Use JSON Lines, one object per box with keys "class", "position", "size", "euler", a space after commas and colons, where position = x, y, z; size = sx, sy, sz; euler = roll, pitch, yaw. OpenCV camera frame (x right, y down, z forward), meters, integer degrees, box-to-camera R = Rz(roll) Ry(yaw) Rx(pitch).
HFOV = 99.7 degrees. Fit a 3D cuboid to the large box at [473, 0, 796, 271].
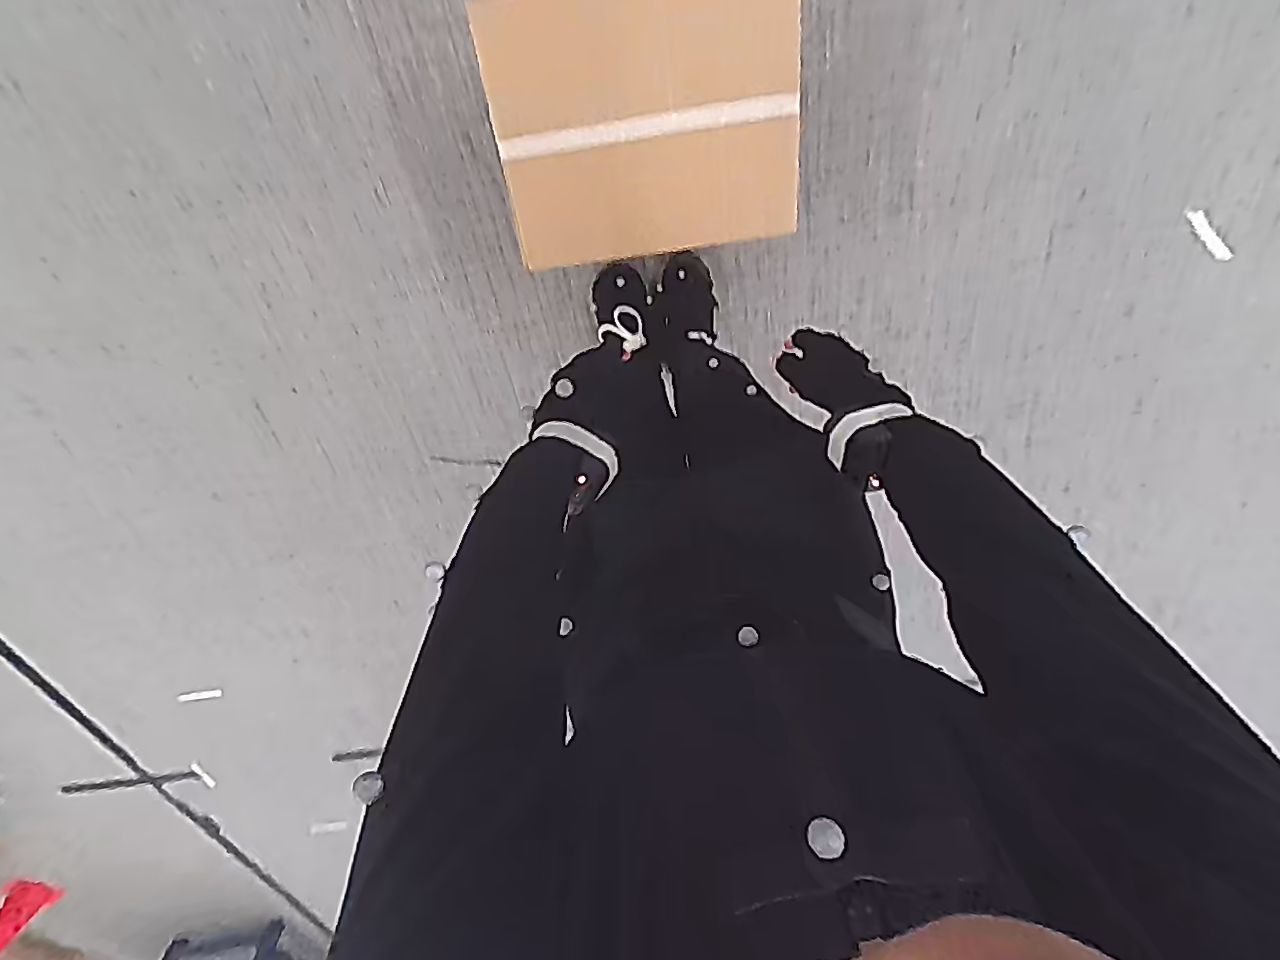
{"class": "large box", "position": [0.004, -0.547, 0.856], "size": [0.408, 0.320, 0.320], "euler": [-7, 122, 3]}
